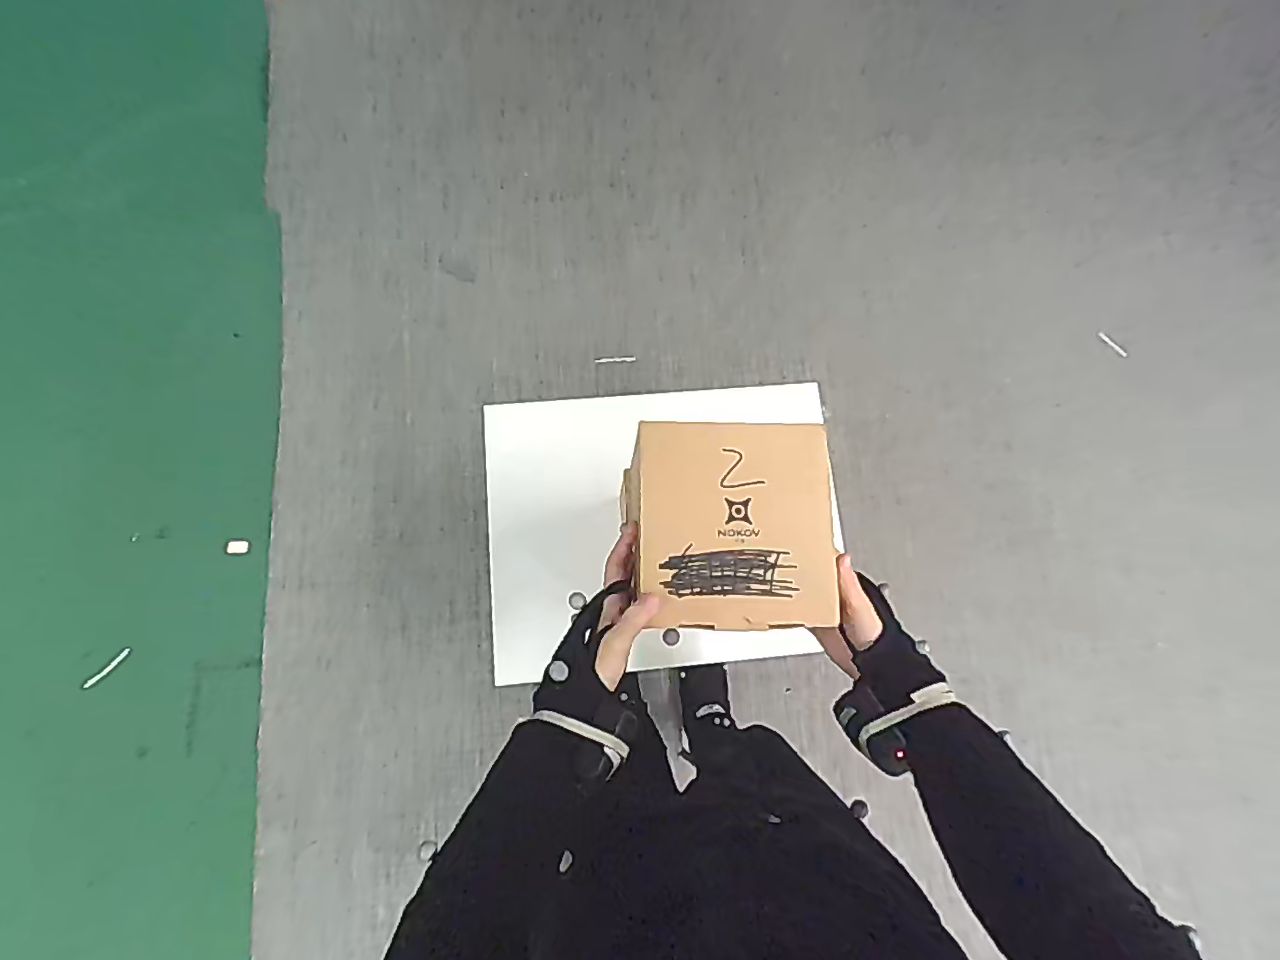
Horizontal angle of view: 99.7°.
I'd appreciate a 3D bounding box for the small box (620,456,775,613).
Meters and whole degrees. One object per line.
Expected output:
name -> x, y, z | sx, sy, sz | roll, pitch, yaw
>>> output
small box -> 0.061, 0.076, 0.686 | 0.168, 0.176, 0.179 | -2, 78, -3
